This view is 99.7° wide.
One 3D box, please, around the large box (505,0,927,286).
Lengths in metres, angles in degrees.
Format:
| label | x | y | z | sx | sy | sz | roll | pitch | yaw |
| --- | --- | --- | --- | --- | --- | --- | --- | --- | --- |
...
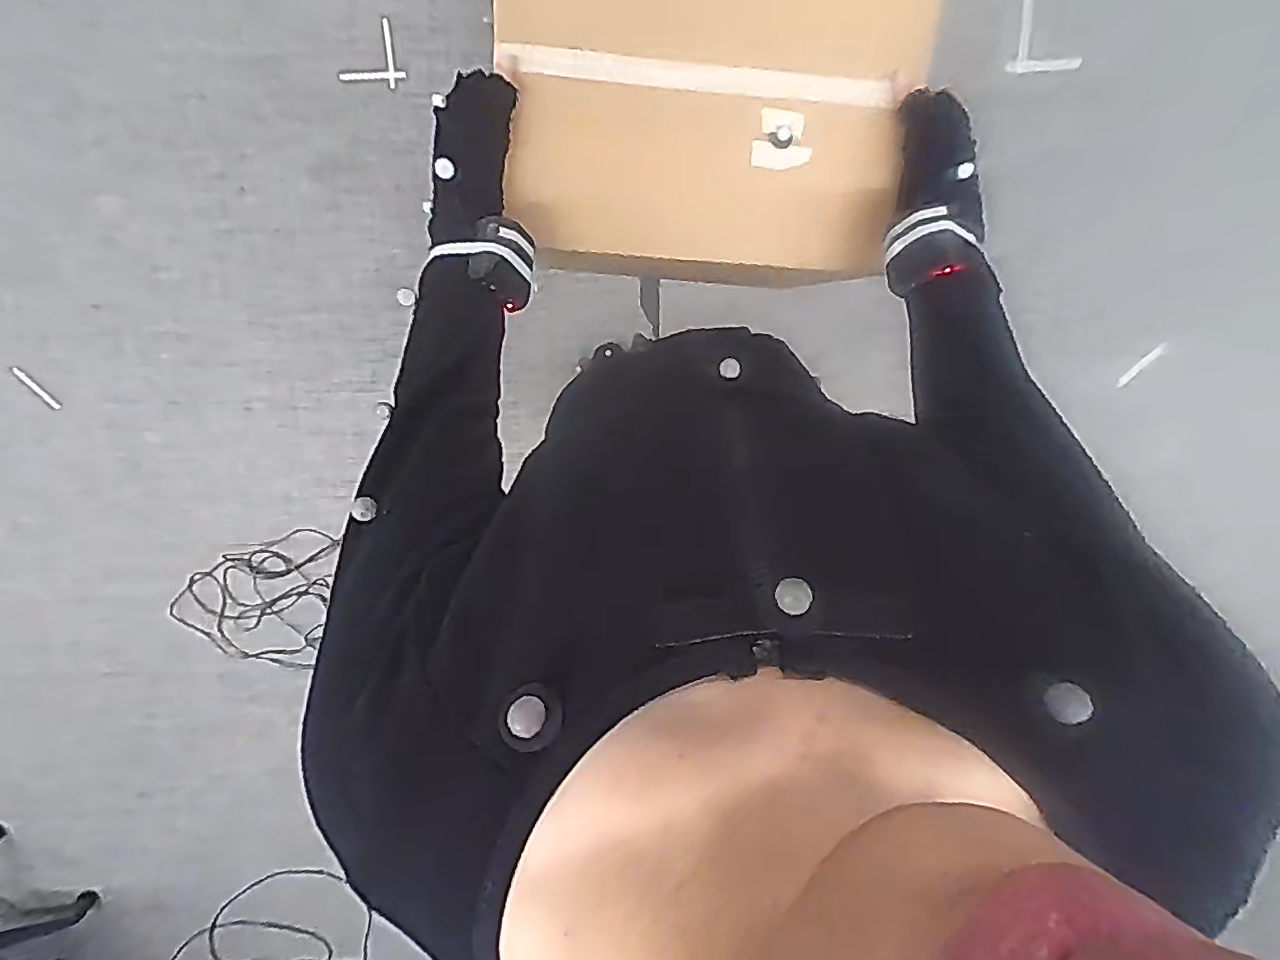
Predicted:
| label | x | y | z | sx | sy | sz | roll | pitch | yaw |
| --- | --- | --- | --- | --- | --- | --- | --- | --- | --- |
| large box | 0.059 | -0.419 | 0.663 | 0.408 | 0.320 | 0.320 | 2 | 107 | -5 |
